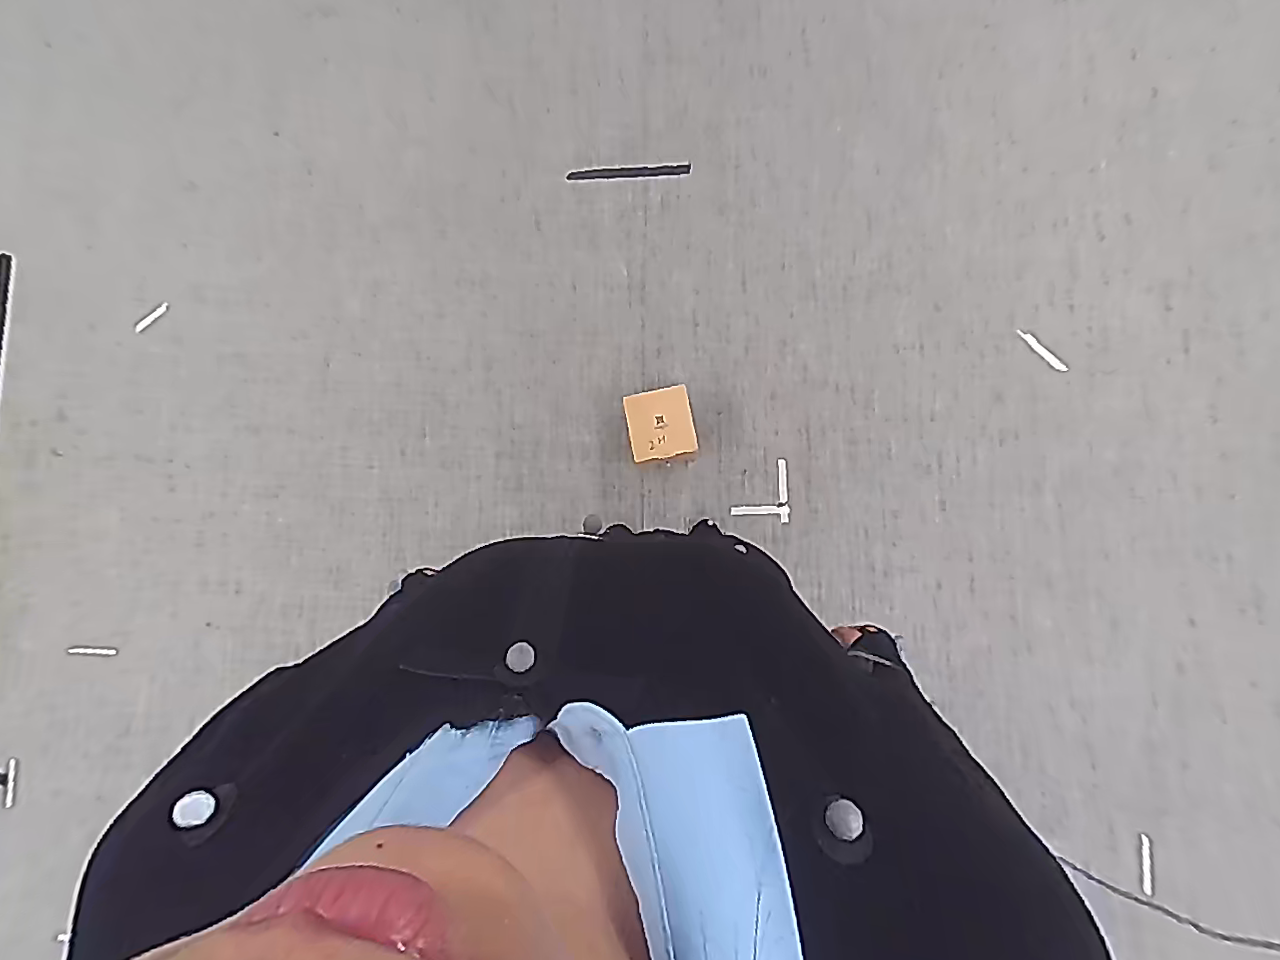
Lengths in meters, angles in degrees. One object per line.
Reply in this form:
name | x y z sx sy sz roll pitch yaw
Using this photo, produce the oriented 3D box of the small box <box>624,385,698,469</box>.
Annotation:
small box | 0.056 -0.135 1.437 0.168 0.176 0.179 -11 85 4
